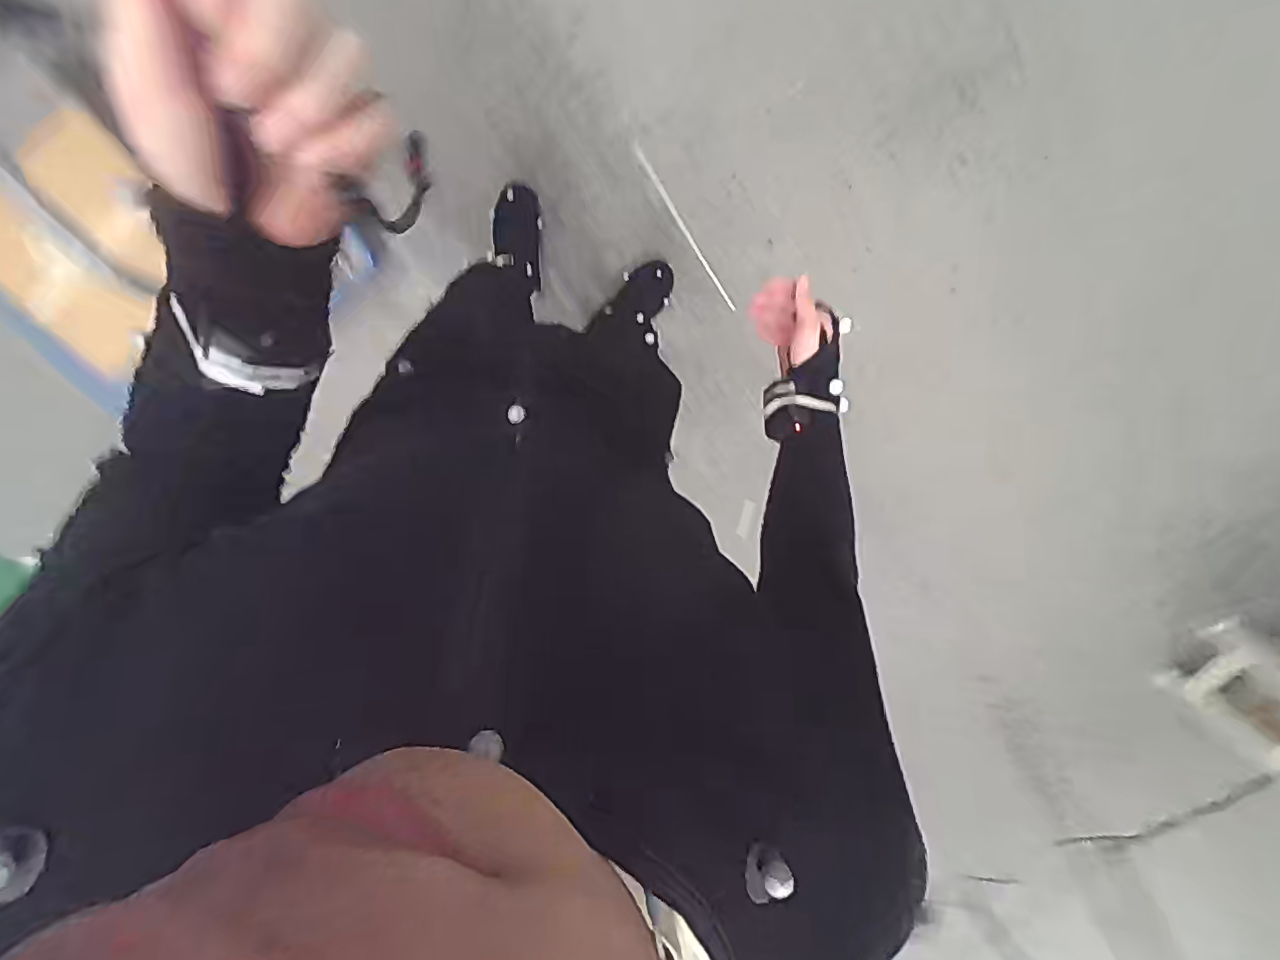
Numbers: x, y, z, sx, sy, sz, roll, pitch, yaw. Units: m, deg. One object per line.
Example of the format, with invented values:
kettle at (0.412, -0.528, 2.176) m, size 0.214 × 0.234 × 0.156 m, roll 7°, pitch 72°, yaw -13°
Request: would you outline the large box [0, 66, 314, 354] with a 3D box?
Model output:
large box at (-0.978, -0.528, 1.091) m, size 0.408 × 0.320 × 0.320 m, roll -27°, pitch 116°, yaw 15°
